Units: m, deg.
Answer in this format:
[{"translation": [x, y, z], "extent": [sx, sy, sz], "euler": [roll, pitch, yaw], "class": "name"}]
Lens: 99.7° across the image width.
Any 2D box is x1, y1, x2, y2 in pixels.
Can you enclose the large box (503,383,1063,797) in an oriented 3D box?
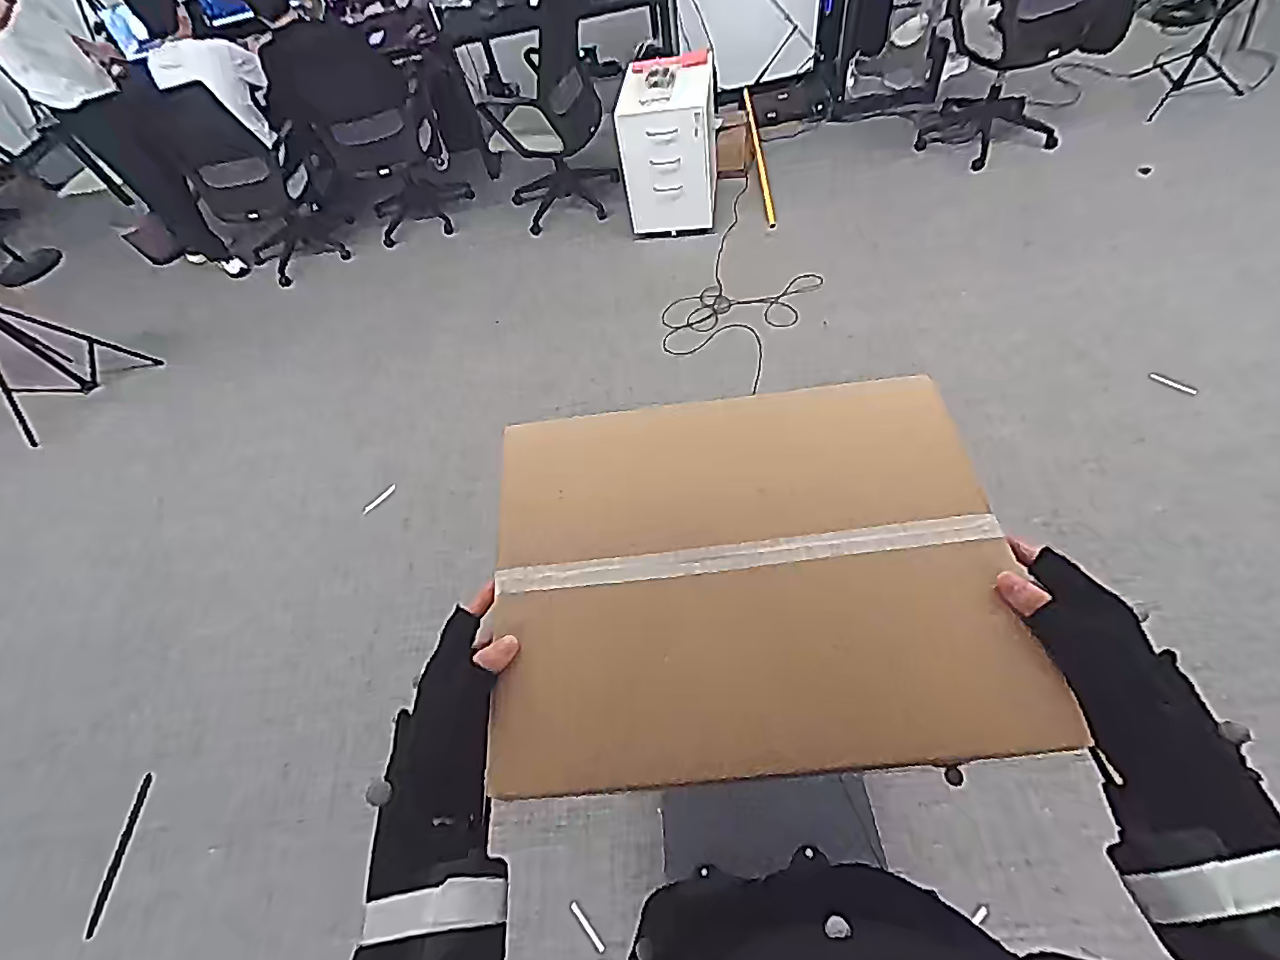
[{"translation": [0.101, 0.136, 0.580], "extent": [0.408, 0.320, 0.320], "euler": [-7, 61, 3], "class": "large box"}]
